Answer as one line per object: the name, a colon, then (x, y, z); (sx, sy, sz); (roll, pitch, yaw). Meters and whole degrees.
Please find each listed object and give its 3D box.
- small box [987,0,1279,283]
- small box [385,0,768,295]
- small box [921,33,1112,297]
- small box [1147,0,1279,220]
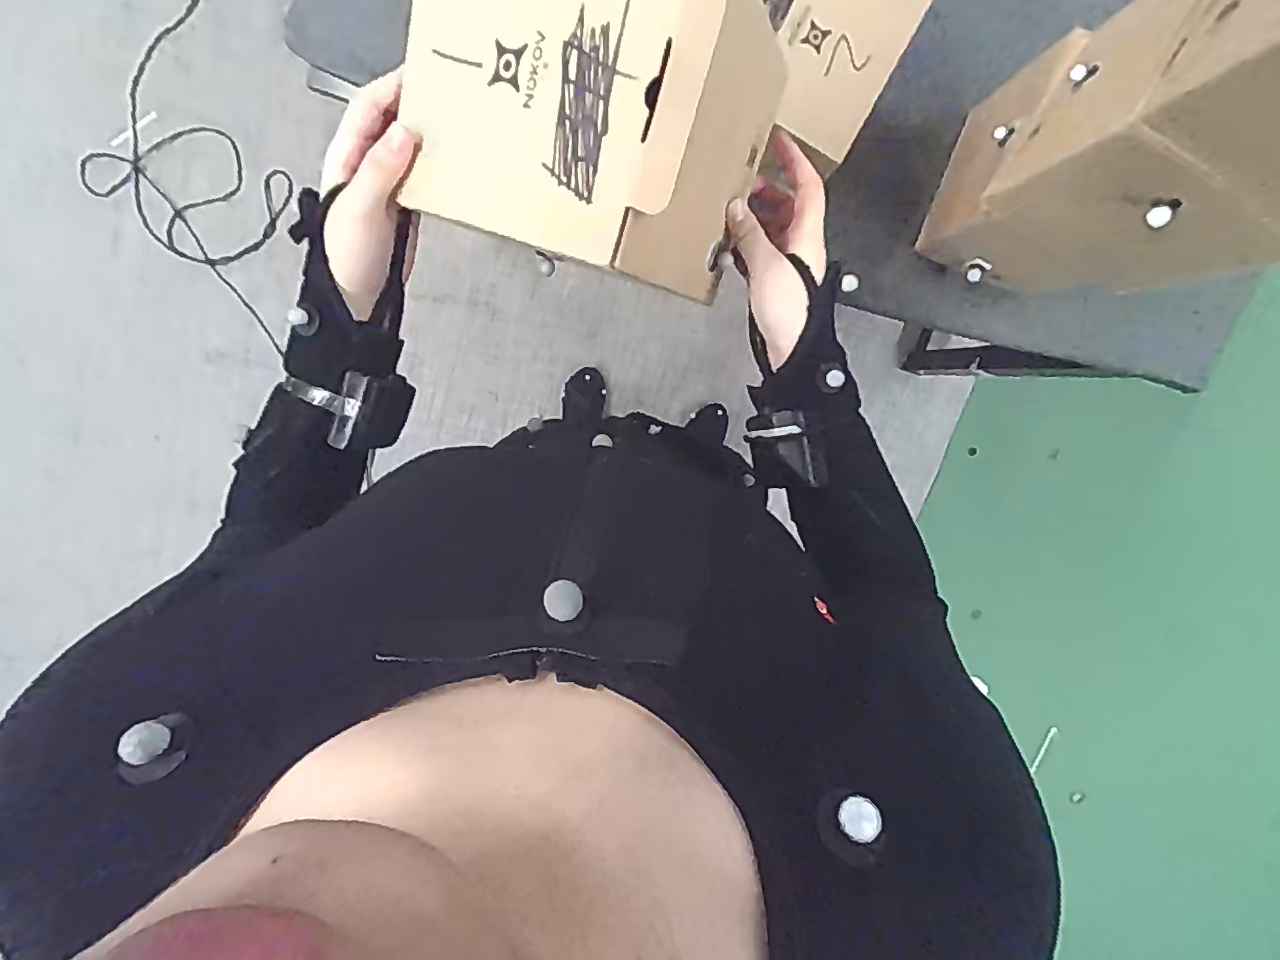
small box: (0.442, -0.280, 0.438); (0.179, 0.176, 0.168); (30, 99, -4)
small box: (-0.033, -0.234, 0.364); (0.179, 0.176, 0.168); (24, 108, 21)
small box: (0.448, -0.322, 0.595); (0.168, 0.176, 0.179); (18, 100, -2)
small box: (0.444, -0.251, 0.276); (0.179, 0.176, 0.168); (31, 99, -4)
